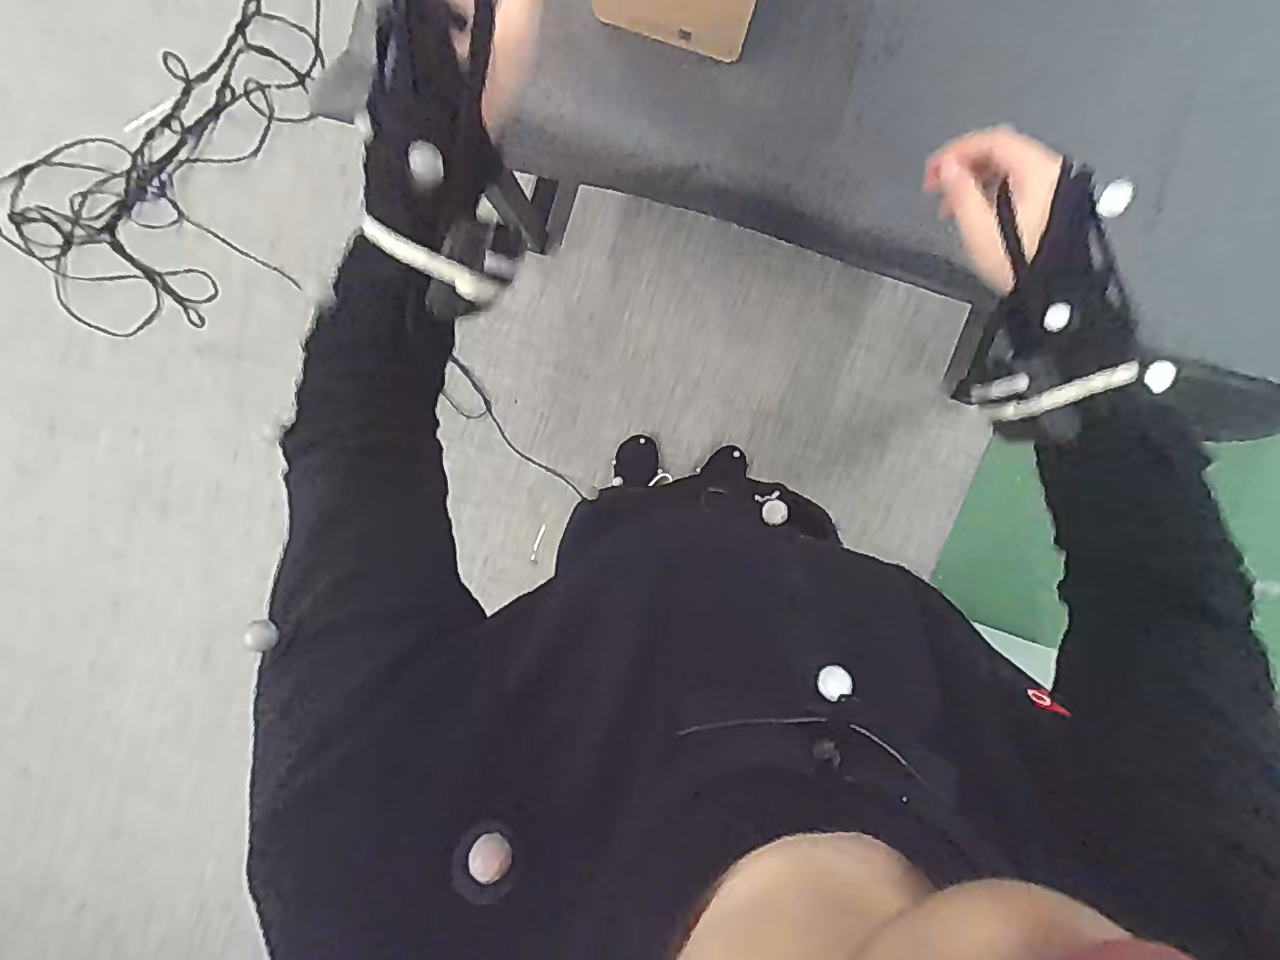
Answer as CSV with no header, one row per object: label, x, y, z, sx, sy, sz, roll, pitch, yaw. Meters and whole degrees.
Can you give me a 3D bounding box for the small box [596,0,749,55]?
small box,0.048,-0.558,0.499,0.168,0.176,0.179,18,95,-2
